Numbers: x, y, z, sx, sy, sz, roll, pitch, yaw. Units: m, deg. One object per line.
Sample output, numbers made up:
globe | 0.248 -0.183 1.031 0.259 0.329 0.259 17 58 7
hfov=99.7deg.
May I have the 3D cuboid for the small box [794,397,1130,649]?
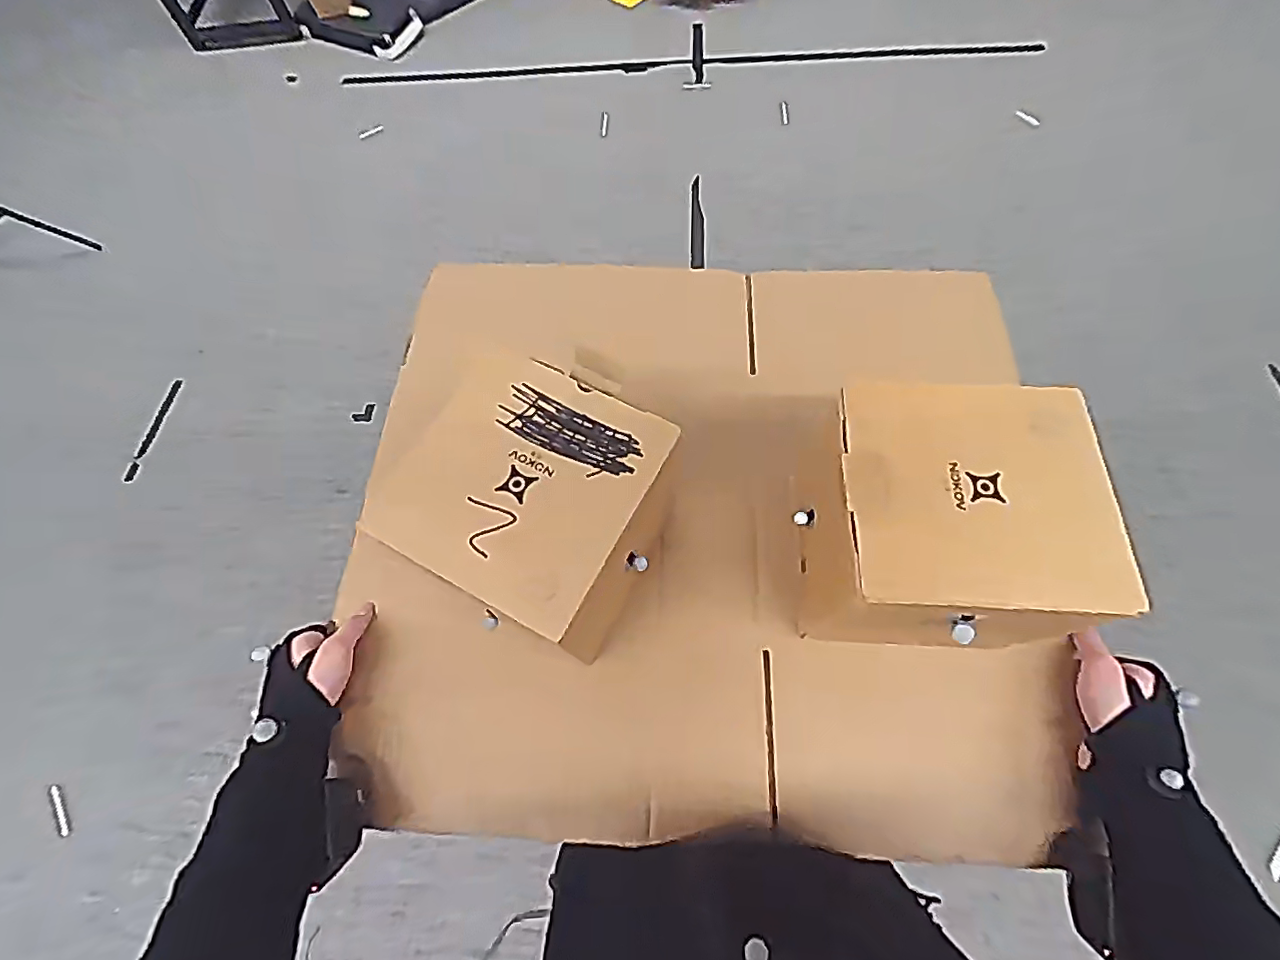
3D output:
small box | 0.239 0.046 0.457 0.179 0.176 0.168 2 66 4
